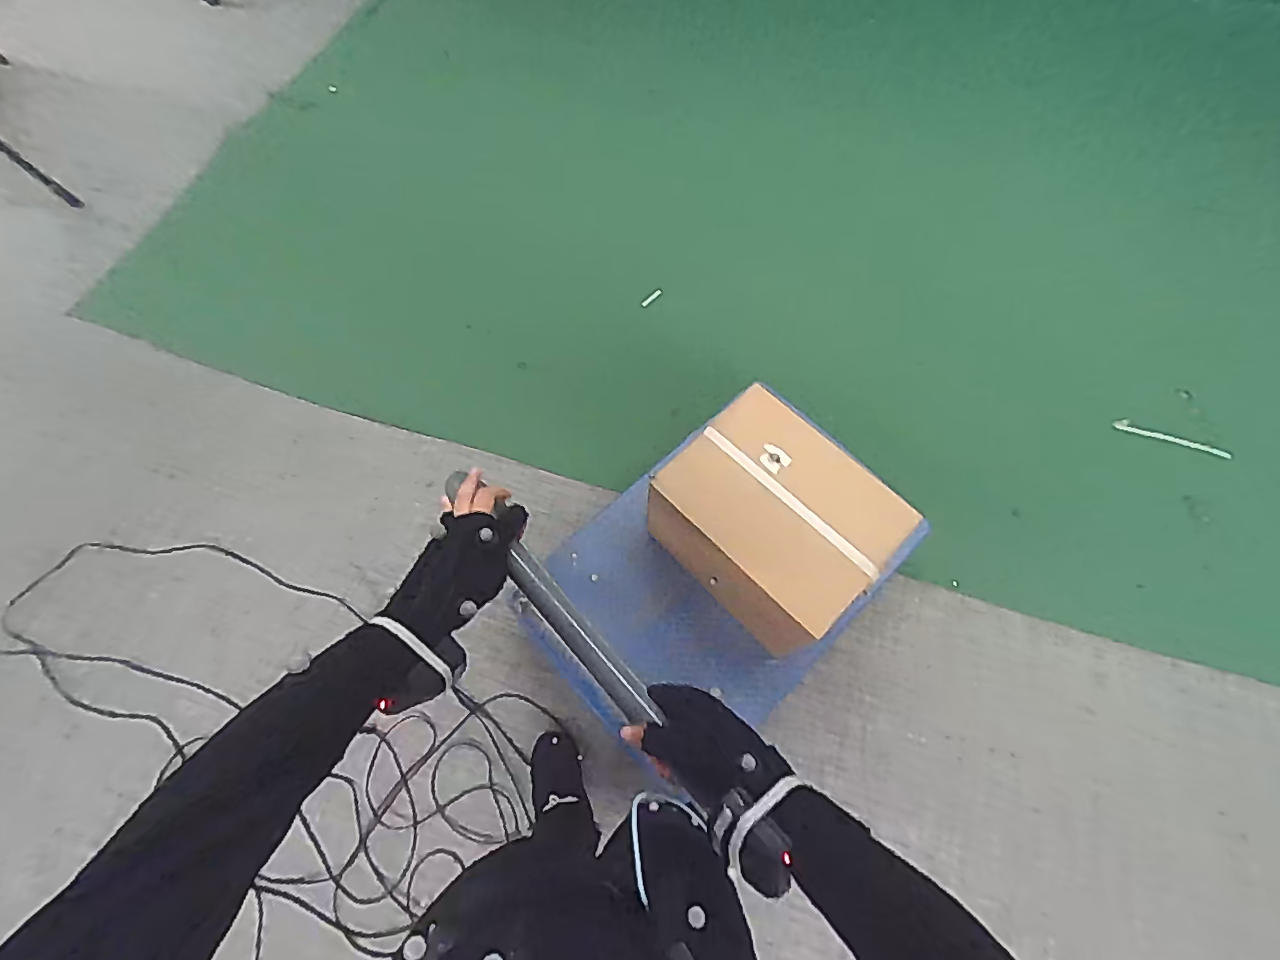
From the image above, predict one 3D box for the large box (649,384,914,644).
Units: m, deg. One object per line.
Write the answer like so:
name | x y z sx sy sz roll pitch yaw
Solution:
large box | 0.264 0.085 1.147 0.320 0.320 0.408 -42 73 -16
